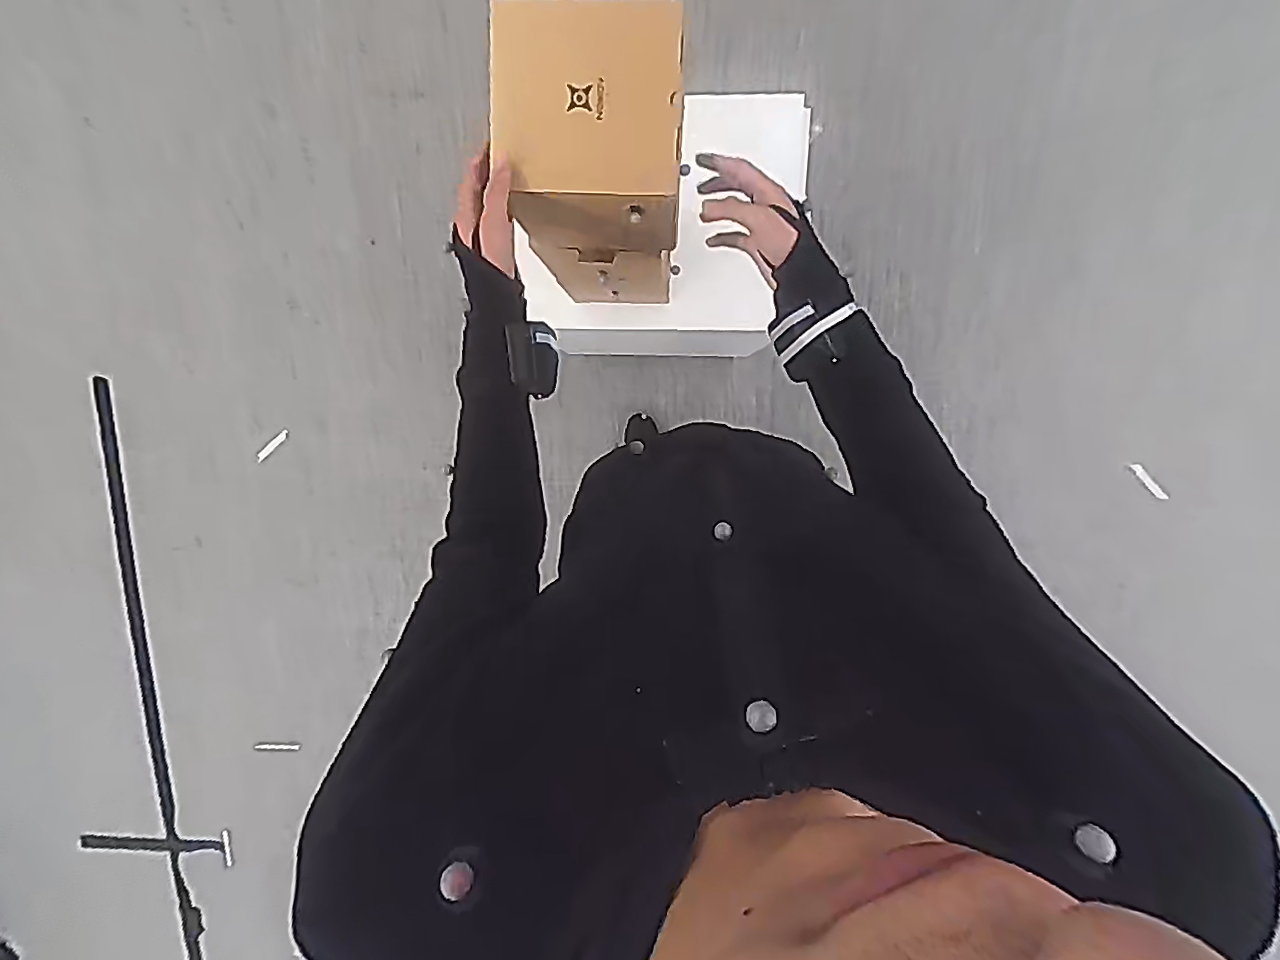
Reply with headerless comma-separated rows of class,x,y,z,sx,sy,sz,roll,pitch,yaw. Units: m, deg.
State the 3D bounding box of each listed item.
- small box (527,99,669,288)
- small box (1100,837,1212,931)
small box,-0.049,-0.372,0.729,0.168,0.176,0.179,4,98,3
small box,1.579,1.236,1.663,0.179,0.176,0.168,0,98,2
